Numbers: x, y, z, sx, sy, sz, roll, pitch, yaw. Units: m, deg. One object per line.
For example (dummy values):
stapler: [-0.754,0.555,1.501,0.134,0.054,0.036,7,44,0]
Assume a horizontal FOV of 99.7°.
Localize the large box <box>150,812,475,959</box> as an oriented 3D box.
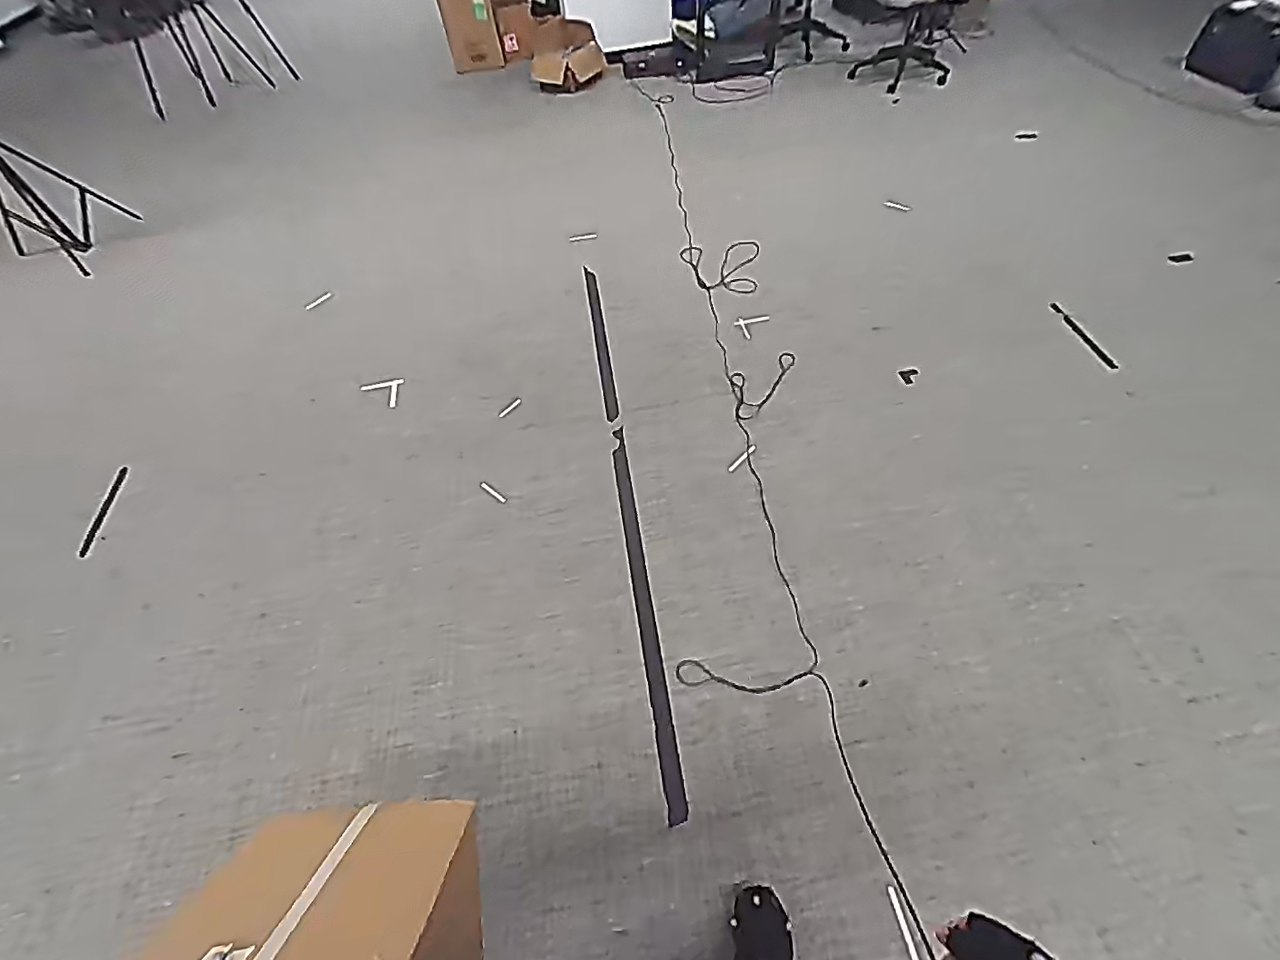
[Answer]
large box: [-0.396,0.681,0.648,0.320,0.408,0.320,-3,93,-3]
